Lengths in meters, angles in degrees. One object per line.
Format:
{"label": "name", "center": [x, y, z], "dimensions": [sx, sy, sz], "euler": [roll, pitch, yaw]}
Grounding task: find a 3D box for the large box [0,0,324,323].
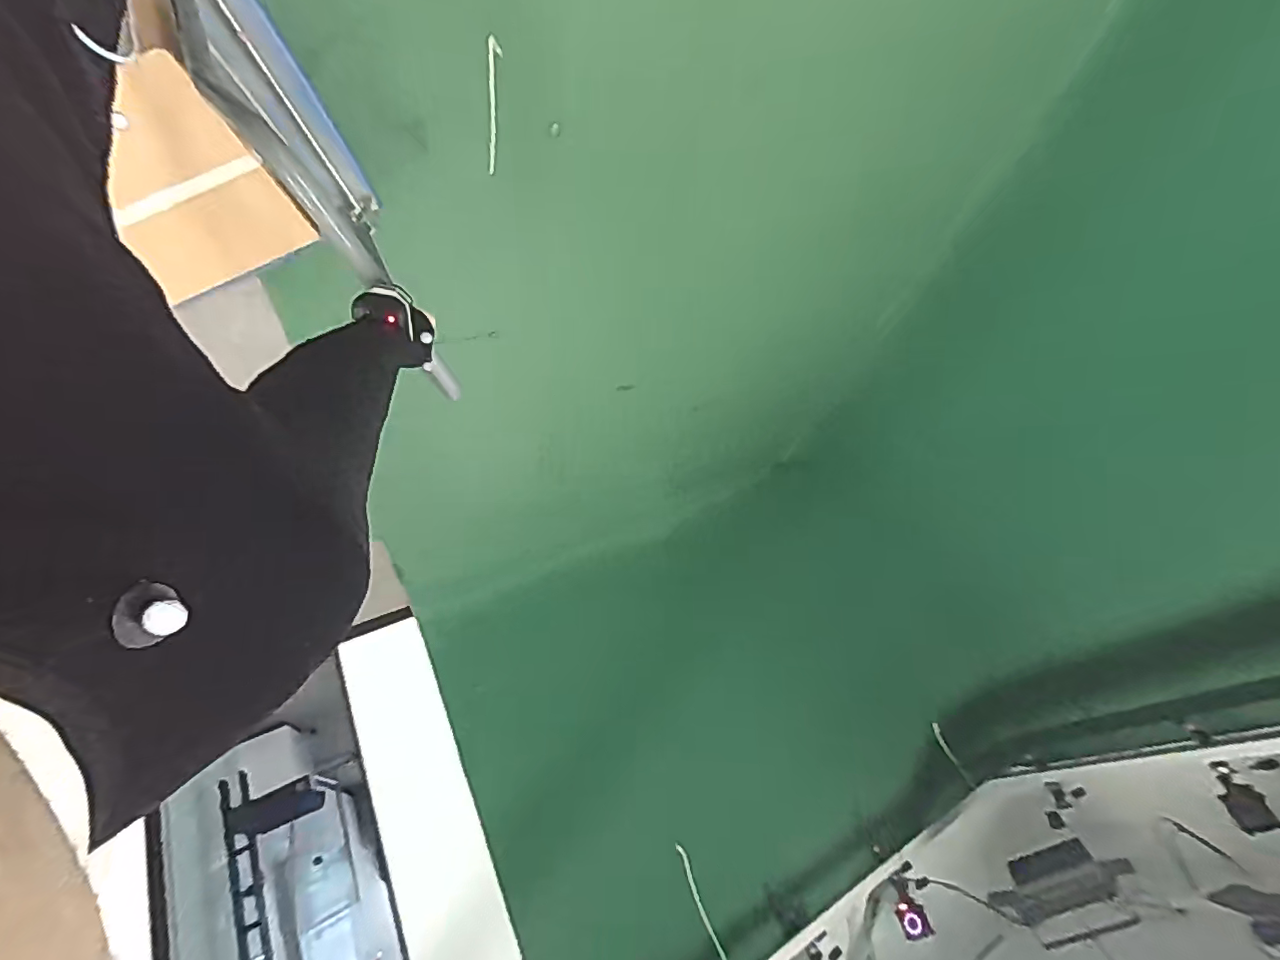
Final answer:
{"label": "large box", "center": [-0.834, -0.549, 0.901], "dimensions": [0.408, 0.320, 0.320], "euler": [-27, 154, -4]}
